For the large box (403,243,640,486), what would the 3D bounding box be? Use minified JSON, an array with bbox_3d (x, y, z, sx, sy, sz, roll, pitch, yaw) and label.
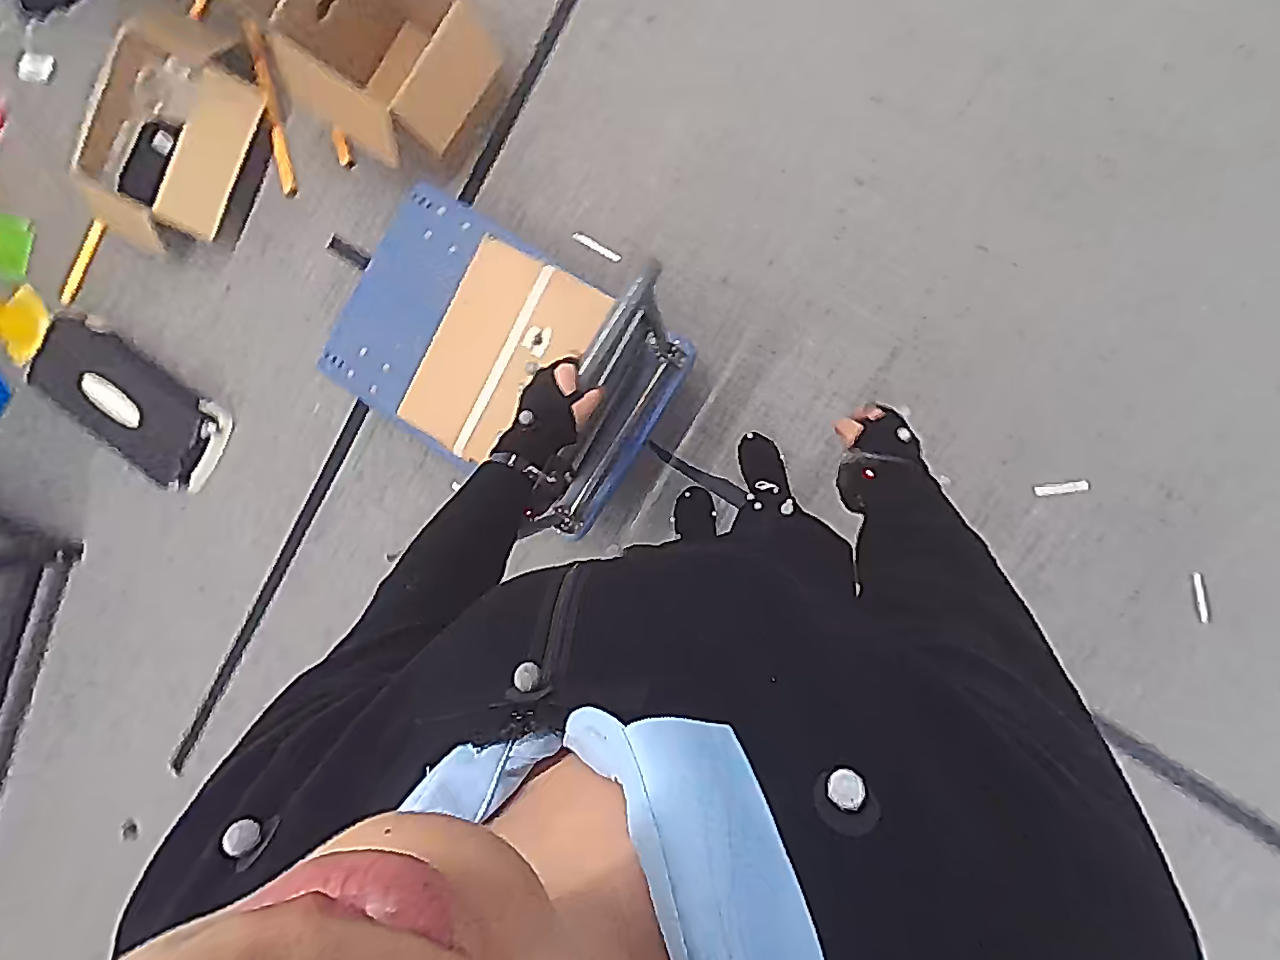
[{"bbox_3d":[-0.241,-0.227,1.214,0.320,0.320,0.408,29,94,7],"label":"large box"}]
